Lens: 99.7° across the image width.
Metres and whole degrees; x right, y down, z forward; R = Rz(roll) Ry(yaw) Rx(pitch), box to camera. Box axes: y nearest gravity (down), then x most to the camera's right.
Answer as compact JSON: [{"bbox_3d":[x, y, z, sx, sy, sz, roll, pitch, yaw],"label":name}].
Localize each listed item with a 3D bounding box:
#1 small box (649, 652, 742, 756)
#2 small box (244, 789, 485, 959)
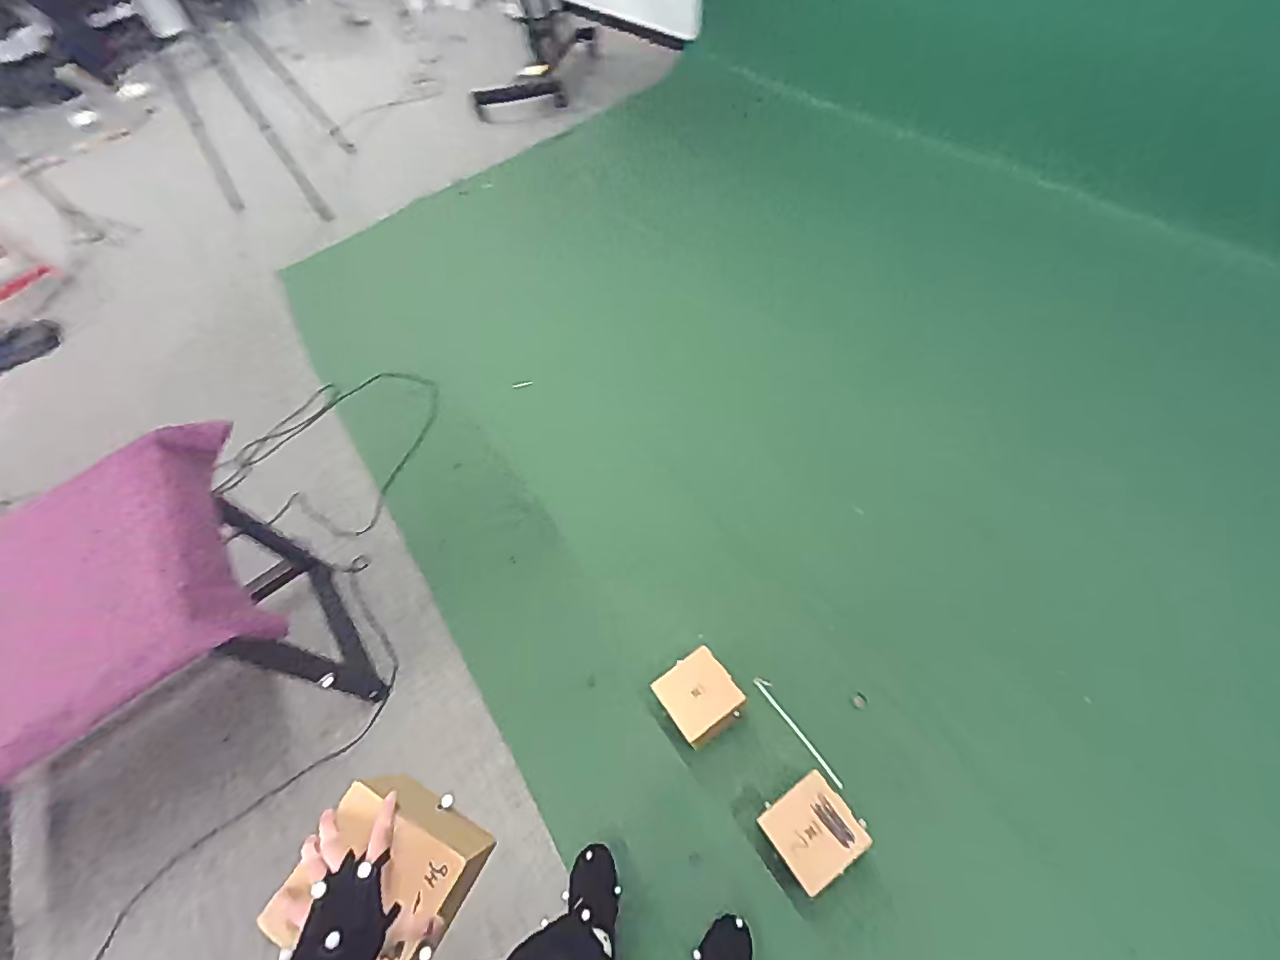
[{"bbox_3d":[0.149,0.582,1.394,0.179,0.176,0.168,-33,57,-12],"label":"small box"},{"bbox_3d":[-0.327,0.517,0.680,0.179,0.176,0.168,26,65,12],"label":"small box"}]
